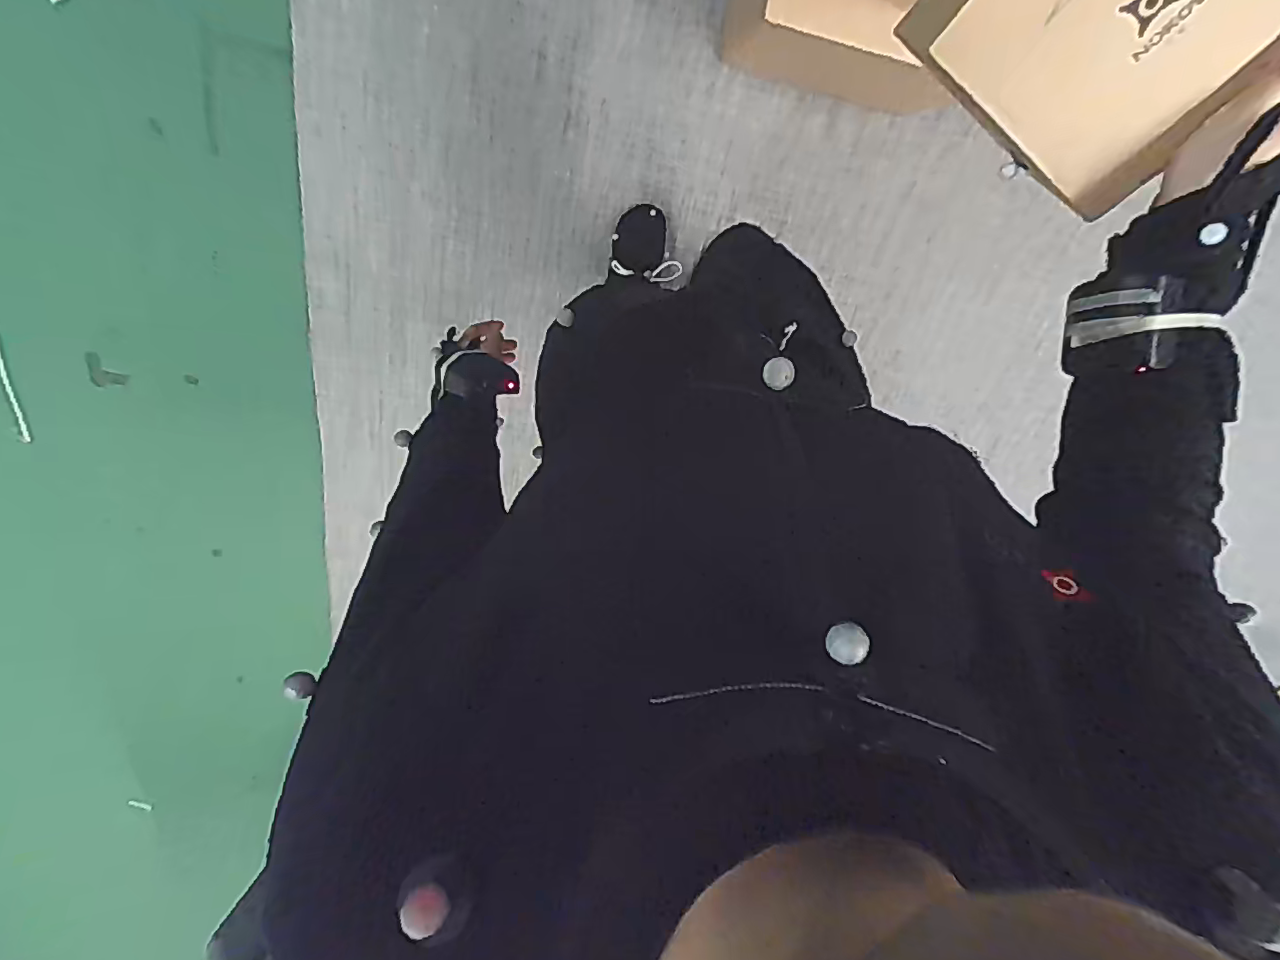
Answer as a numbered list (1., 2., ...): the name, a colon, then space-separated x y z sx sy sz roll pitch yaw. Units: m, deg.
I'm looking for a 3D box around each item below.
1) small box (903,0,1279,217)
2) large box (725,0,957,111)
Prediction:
1. small box: 0.312 -0.324 0.365 0.179 0.176 0.168 33 131 -13
2. large box: 0.391 -0.834 0.869 0.408 0.320 0.320 7 118 -10
